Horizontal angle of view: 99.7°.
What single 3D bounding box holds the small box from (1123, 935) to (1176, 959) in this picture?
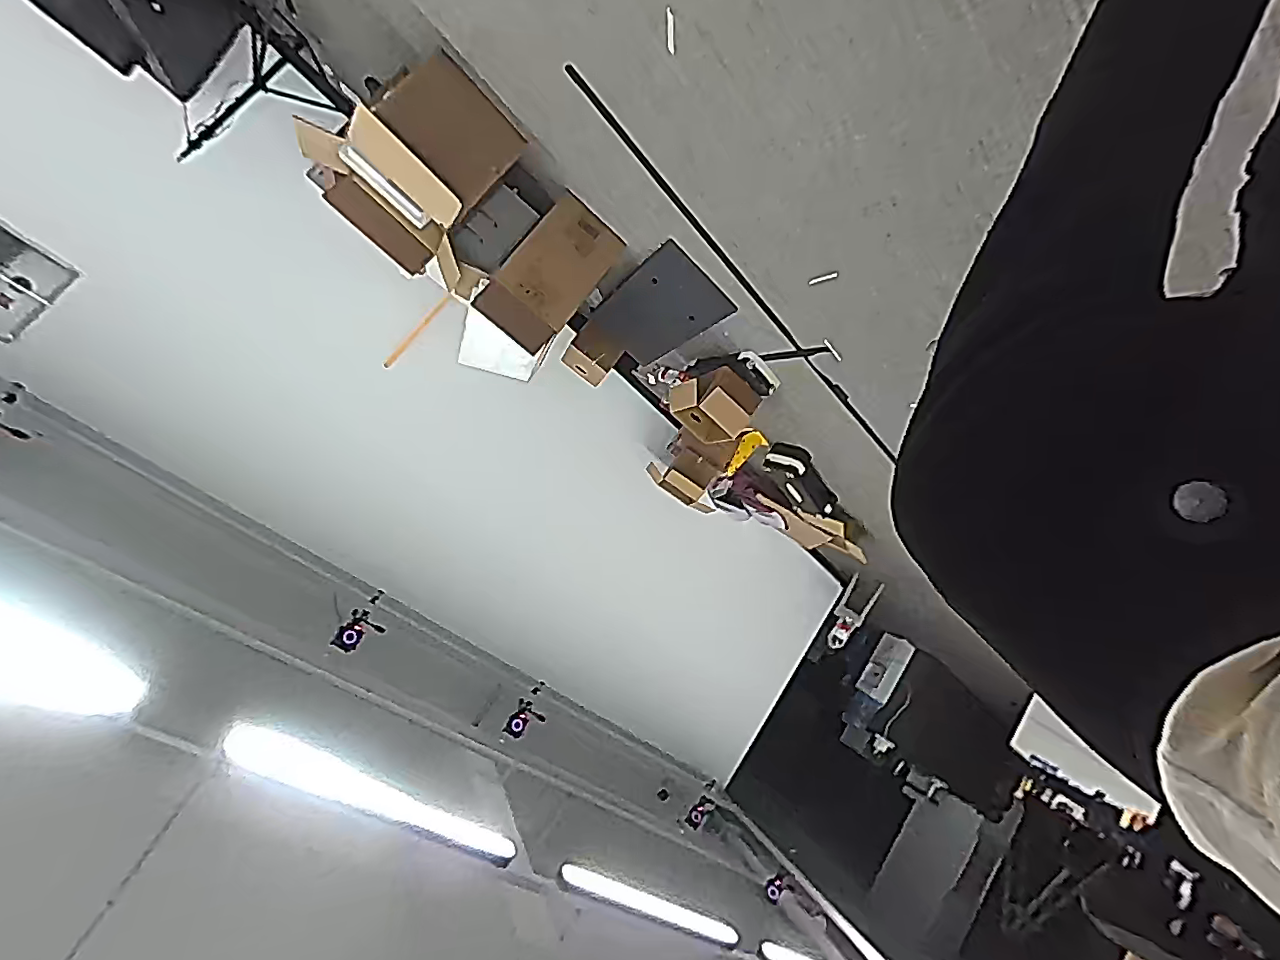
[{"bbox_3d":[1.424,1.380,1.453,0.179,0.176,0.168,38,169,-22],"label":"small box"}]
